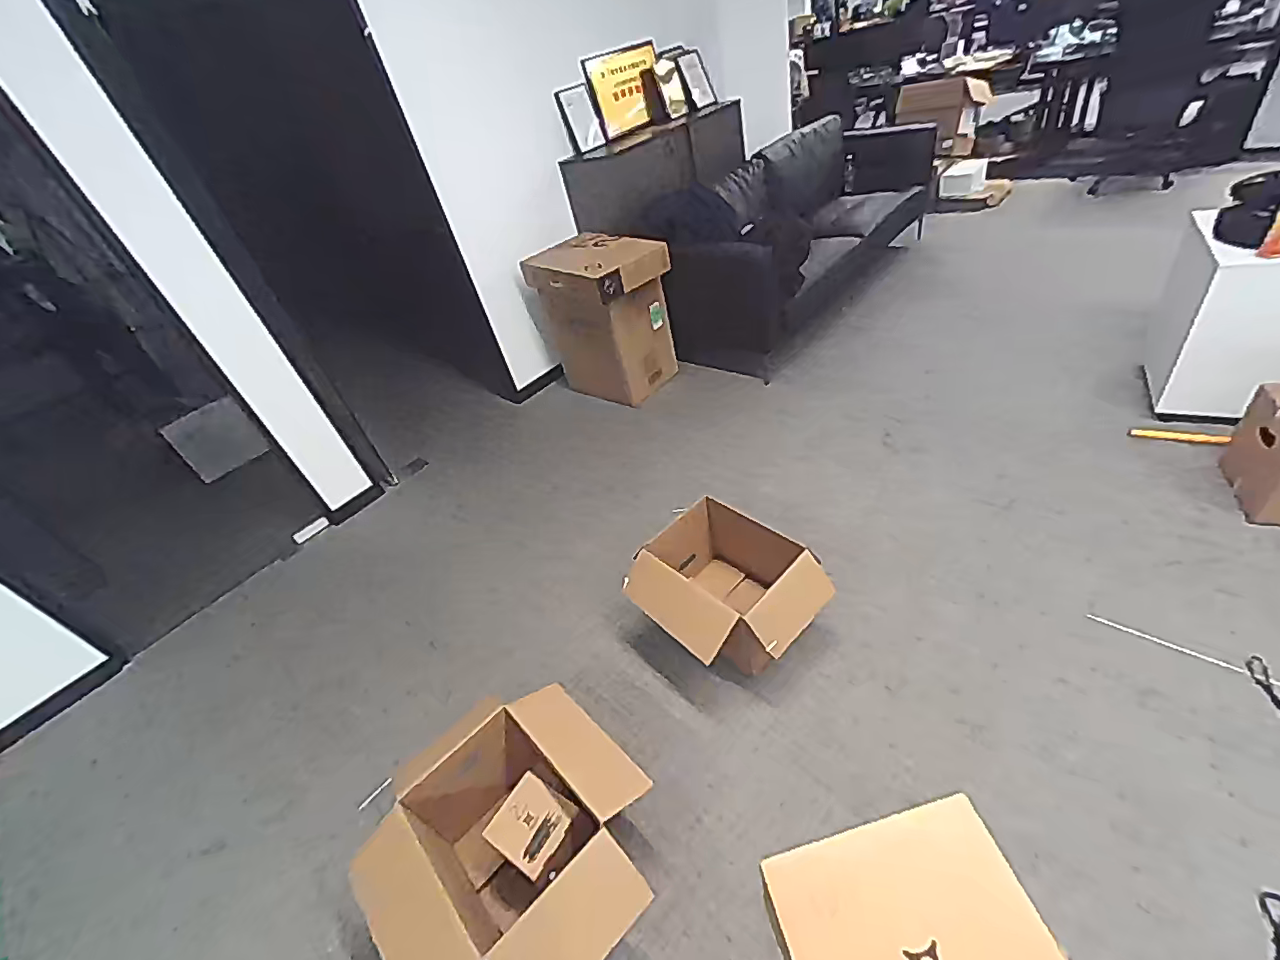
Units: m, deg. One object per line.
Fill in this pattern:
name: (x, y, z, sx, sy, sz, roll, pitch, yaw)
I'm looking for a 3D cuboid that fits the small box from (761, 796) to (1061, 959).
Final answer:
small box: (0.197, 0.372, 0.398, 0.168, 0.176, 0.179, -17, 44, -2)
